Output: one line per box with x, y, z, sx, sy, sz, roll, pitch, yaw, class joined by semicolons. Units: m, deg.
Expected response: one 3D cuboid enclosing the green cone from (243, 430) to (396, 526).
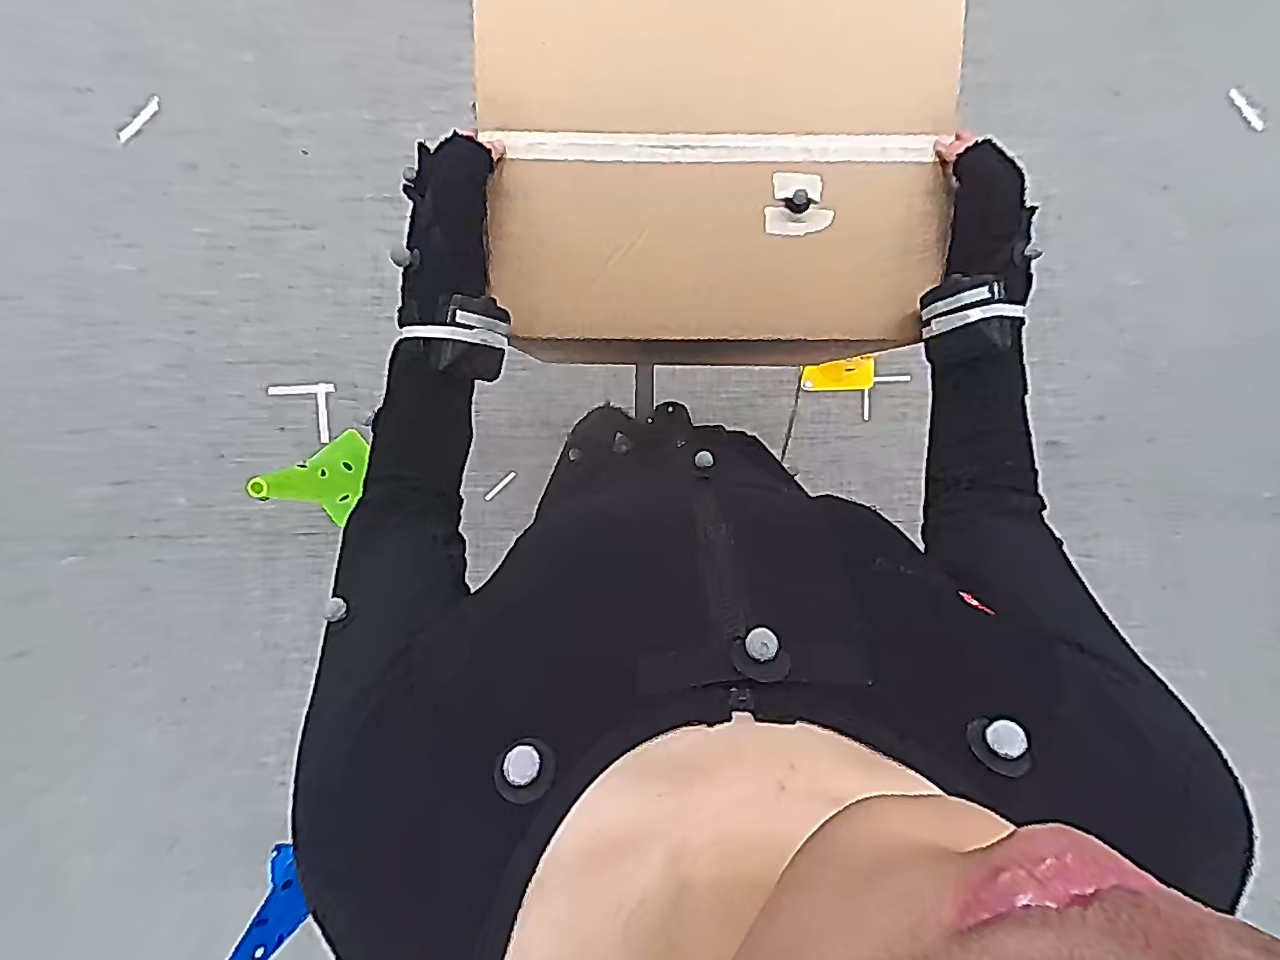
-0.781;0.005;1.273;0.202;0.368;0.200;-38;92;3;green cone

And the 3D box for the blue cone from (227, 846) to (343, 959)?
-0.926;1.126;1.348;0.192;0.380;0.193;3;93;0;blue cone

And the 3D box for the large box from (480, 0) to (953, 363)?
0.061;-0.306;0.611;0.408;0.320;0.320;-1;98;-2;large box
